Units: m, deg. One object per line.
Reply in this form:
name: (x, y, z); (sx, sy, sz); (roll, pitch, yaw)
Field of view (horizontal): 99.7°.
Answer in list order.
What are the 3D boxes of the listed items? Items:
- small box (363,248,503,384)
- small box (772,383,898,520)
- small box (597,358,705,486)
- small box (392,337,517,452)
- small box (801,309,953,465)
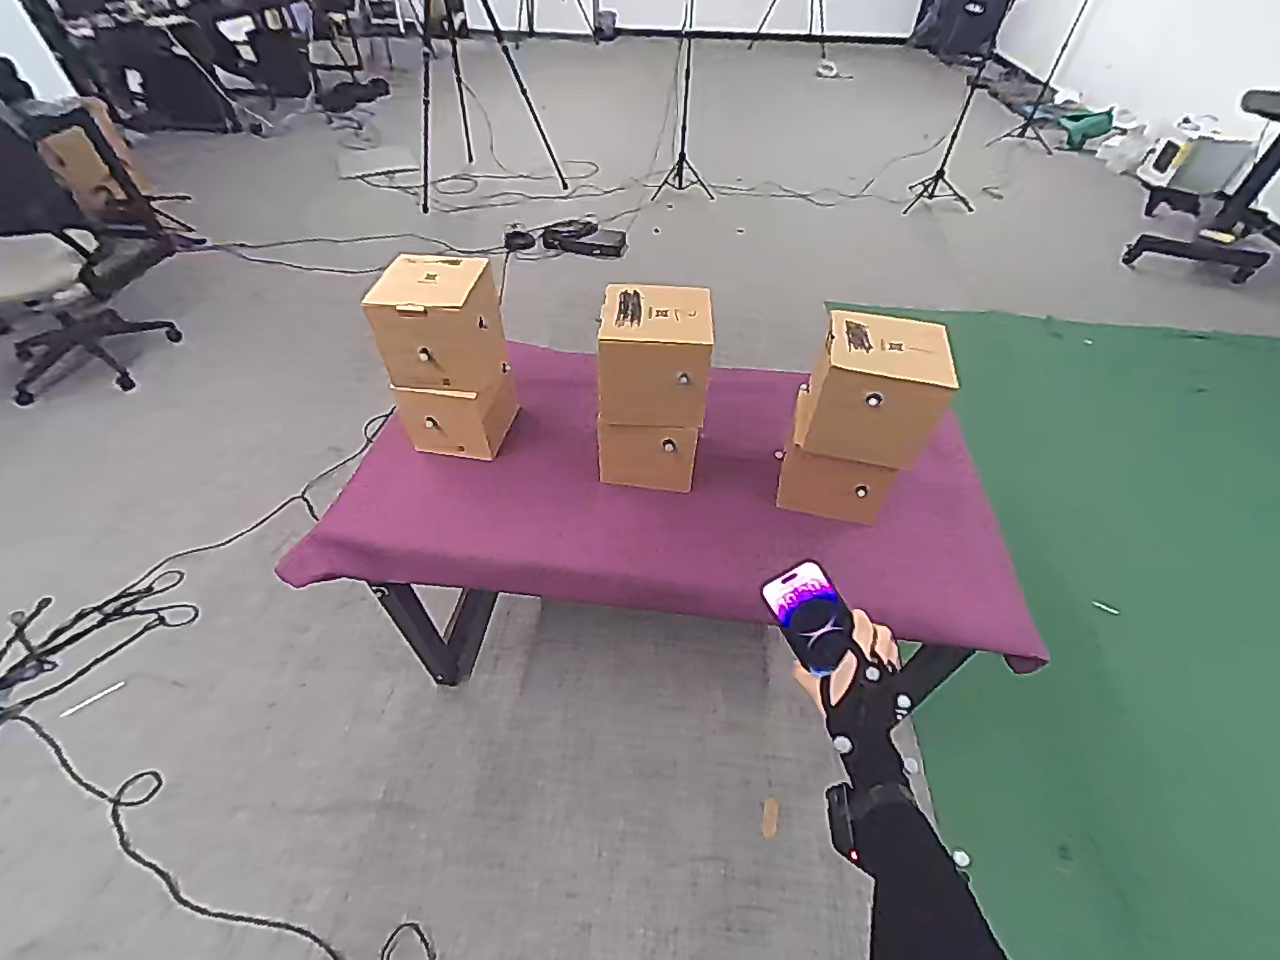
small box: (-0.355, -0.292, 0.971); (0.168, 0.176, 0.179); (5, 49, 2)
small box: (0.355, -0.049, 0.993); (0.179, 0.176, 0.168); (12, 49, 10)
small box: (0.022, -0.108, 1.035); (0.179, 0.176, 0.168); (8, 49, 6)
small box: (-0.359, -0.177, 1.088); (0.168, 0.176, 0.179); (9, 49, 6)
small box: (0.364, -0.145, 0.861); (0.179, 0.176, 0.168); (13, 49, 9)
